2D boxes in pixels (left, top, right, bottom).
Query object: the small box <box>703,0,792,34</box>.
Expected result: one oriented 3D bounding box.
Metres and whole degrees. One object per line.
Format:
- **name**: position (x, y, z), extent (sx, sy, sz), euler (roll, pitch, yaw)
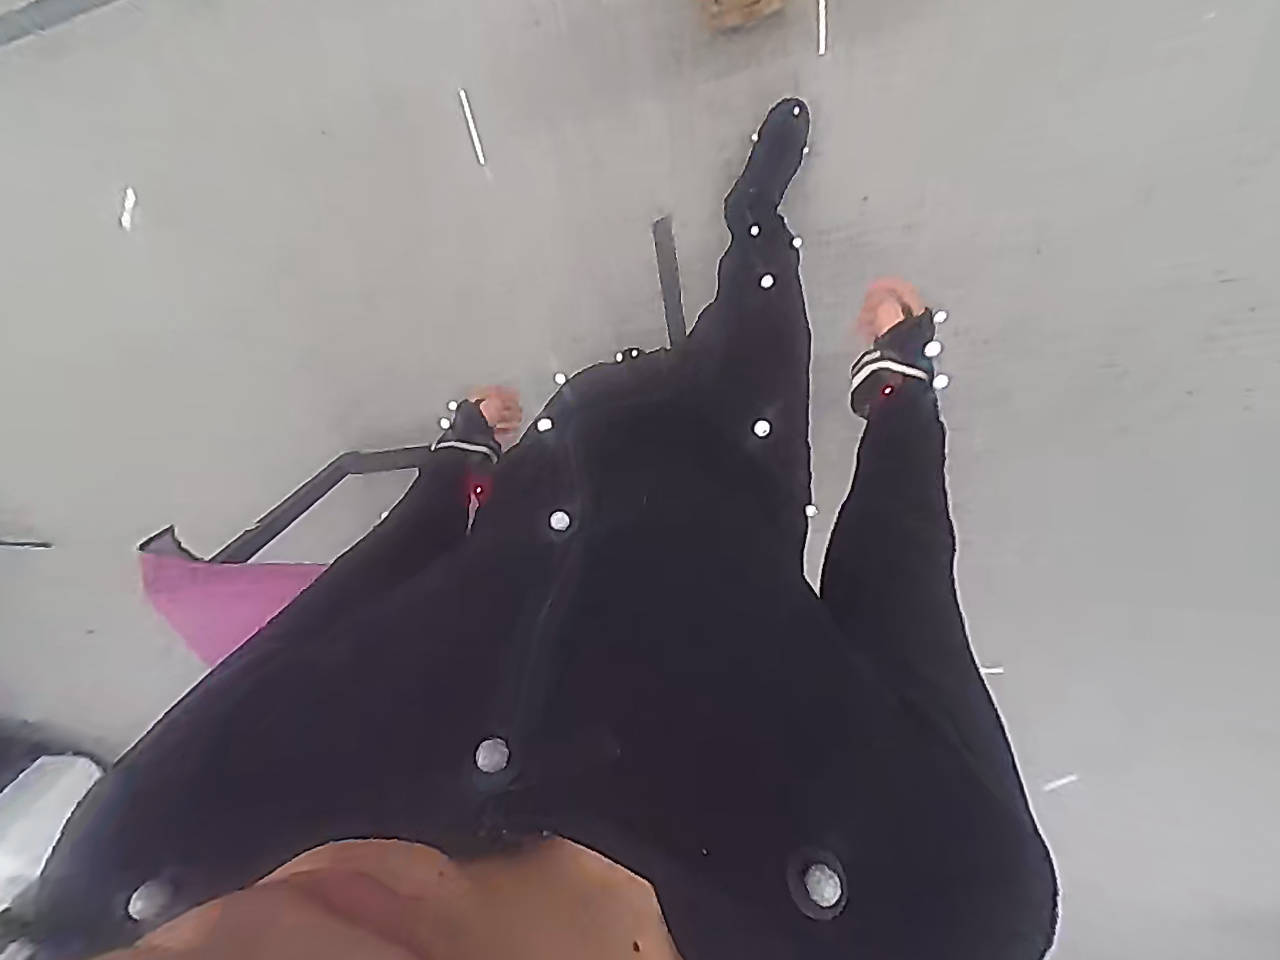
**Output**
- **small box**: position (0.191, -0.971, 1.003), extent (0.168, 0.176, 0.179), euler (-8, 121, 15)
